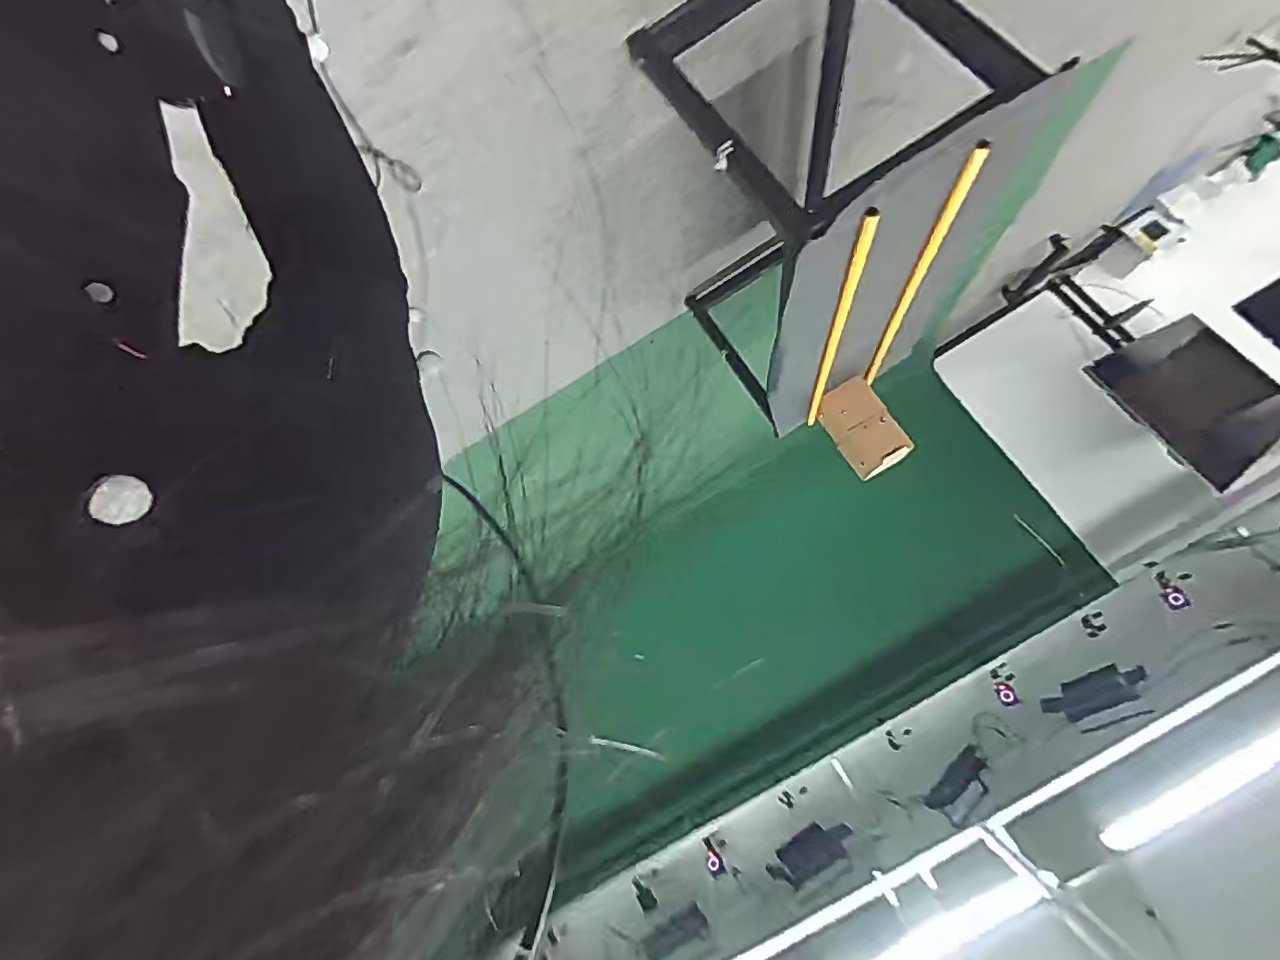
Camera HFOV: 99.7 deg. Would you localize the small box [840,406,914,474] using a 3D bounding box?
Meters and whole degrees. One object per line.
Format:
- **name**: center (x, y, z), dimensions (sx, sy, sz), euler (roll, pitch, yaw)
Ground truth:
- **small box**: center (0.875, -0.152, 2.014), dimensions (0.168, 0.176, 0.179), euler (-30, 162, -1)
